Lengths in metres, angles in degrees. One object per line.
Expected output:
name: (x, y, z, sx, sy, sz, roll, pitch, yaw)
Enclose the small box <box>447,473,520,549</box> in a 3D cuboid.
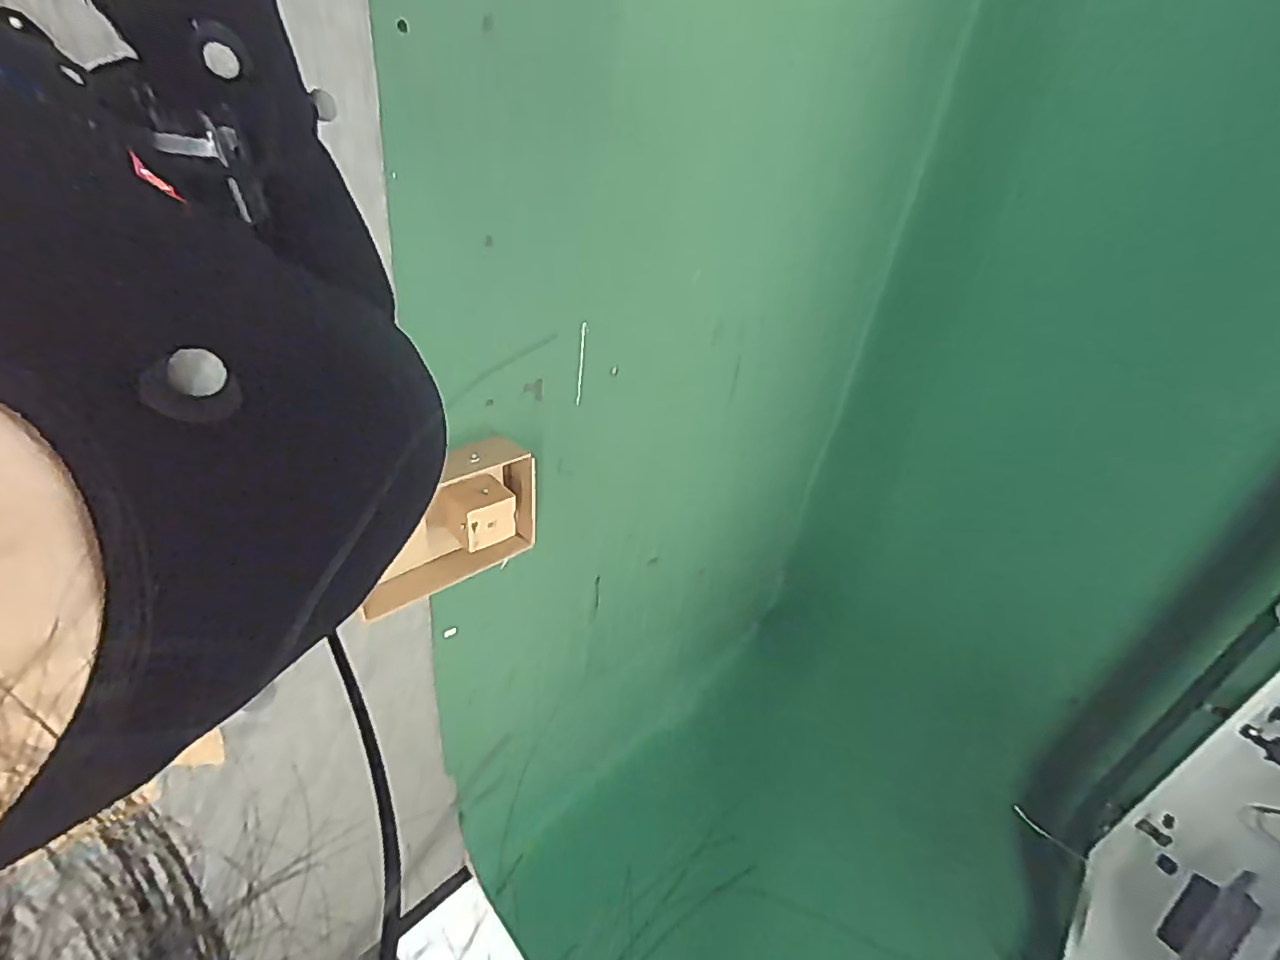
small box: (-0.520, 0.096, 1.805, 0.179, 0.176, 0.168, -22, 133, -39)
